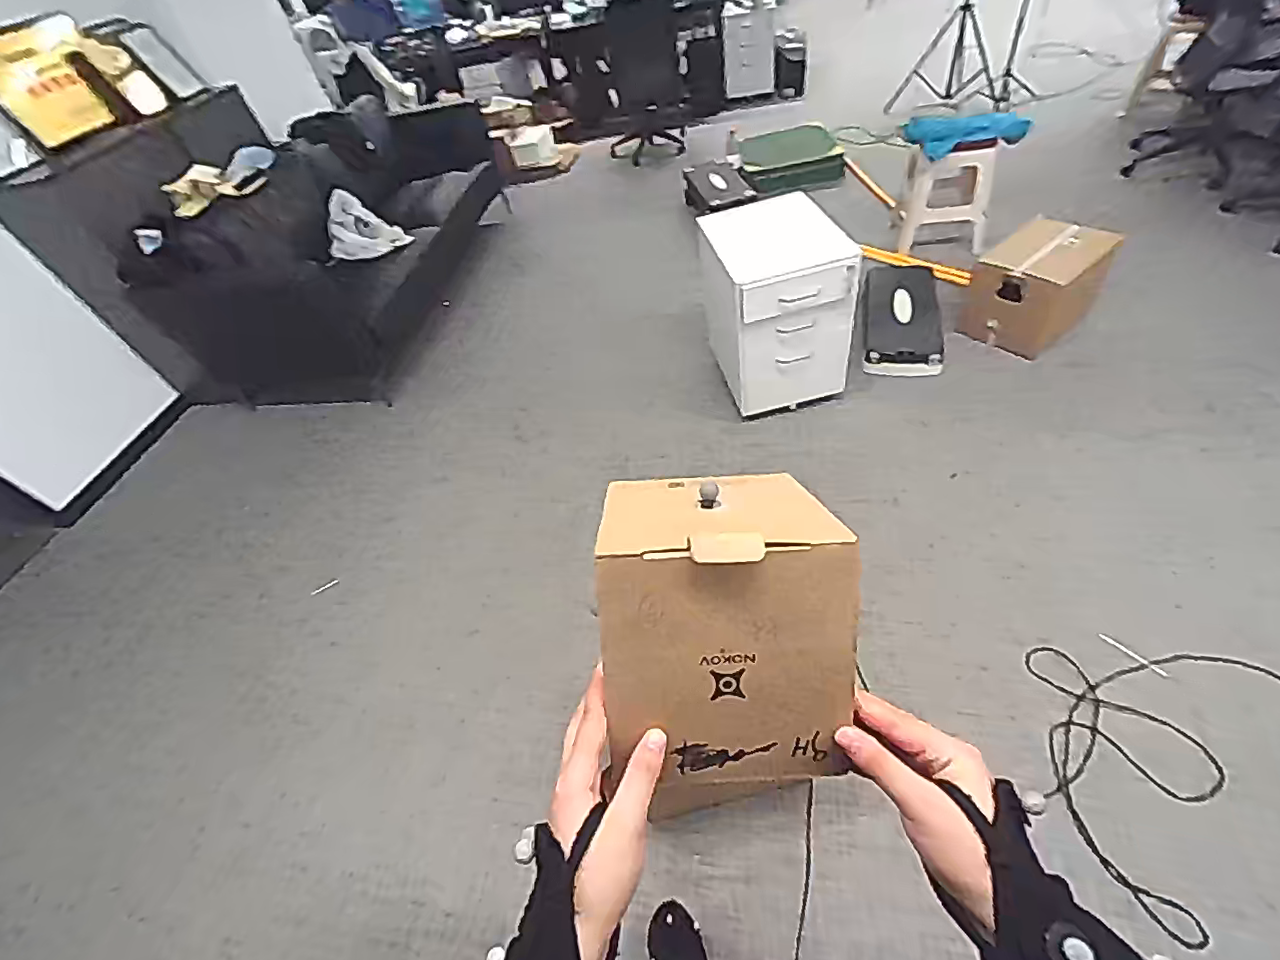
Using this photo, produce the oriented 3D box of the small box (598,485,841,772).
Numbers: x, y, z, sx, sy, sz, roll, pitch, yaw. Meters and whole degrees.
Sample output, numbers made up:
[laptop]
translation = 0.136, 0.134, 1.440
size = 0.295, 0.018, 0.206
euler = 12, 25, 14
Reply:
[small box]
translation = 0.053, 0.104, 0.451
size = 0.168, 0.179, 0.176
euler = -3, 14, 0
